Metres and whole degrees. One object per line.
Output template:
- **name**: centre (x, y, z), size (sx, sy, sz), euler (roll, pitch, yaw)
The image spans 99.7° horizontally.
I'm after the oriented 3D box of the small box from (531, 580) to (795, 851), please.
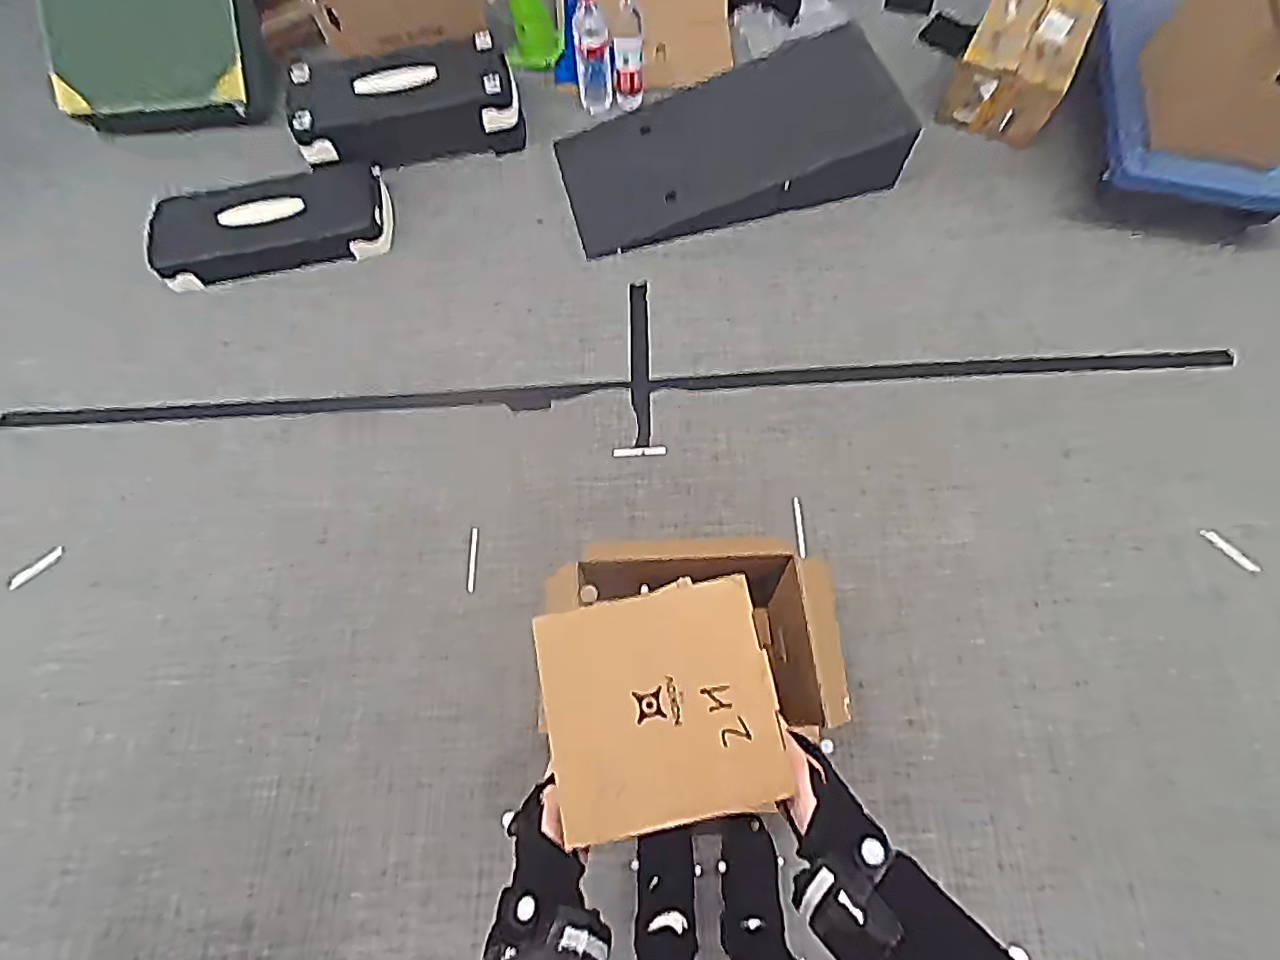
- **small box**: centre (0.012, 0.191, 0.483), size (0.179, 0.176, 0.168), euler (-10, 77, -5)
